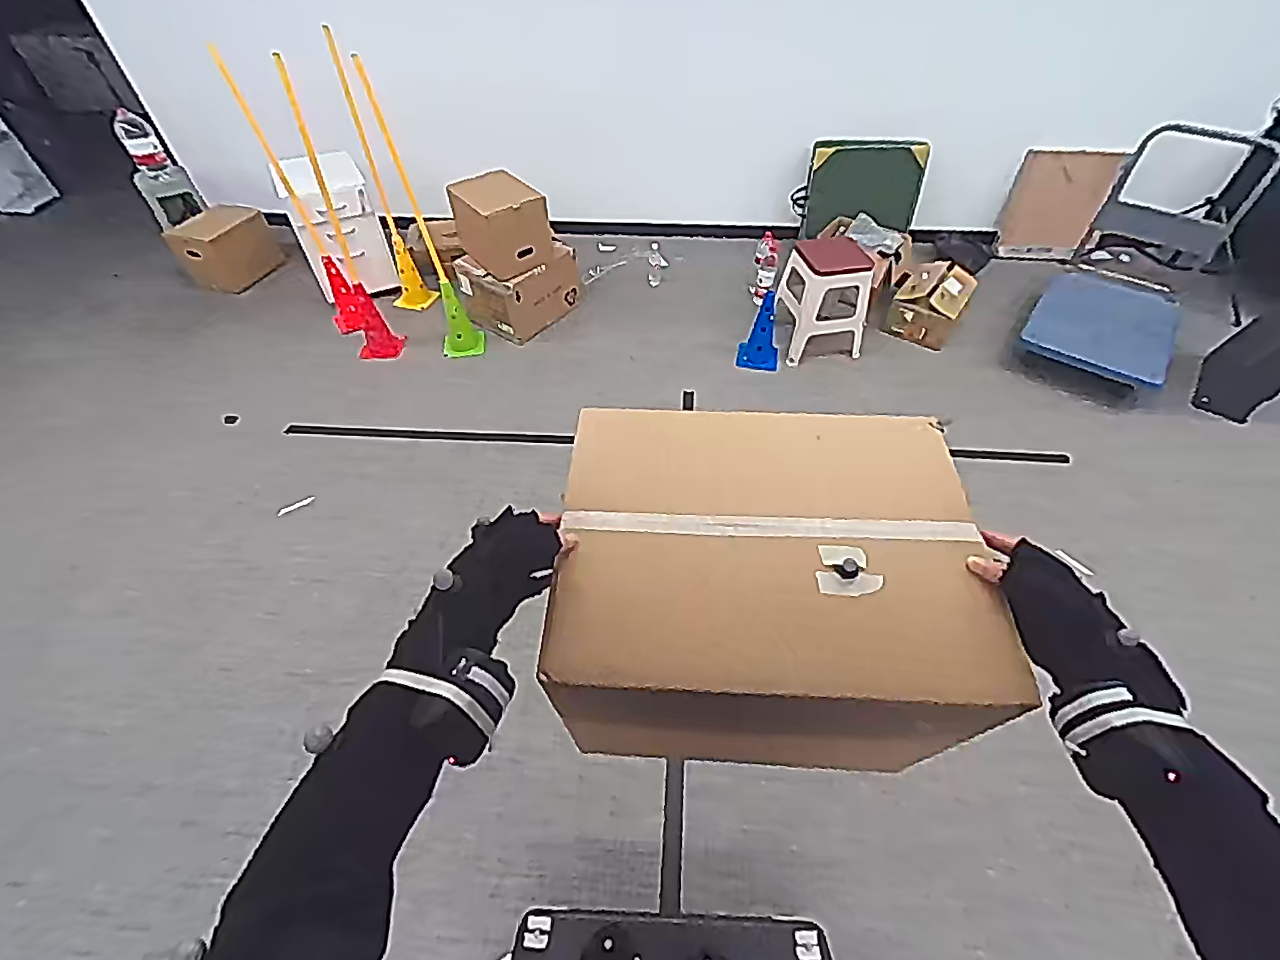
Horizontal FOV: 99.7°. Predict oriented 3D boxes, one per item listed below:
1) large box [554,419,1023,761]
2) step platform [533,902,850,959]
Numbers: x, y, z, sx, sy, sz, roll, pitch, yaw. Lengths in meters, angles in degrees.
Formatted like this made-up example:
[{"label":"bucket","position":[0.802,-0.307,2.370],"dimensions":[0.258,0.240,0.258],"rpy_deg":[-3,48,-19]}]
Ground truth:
[{"label":"large box","position":[0.128,0.142,0.660],"dimensions":[0.408,0.320,0.320],"rpy_deg":[2,54,2]},{"label":"step platform","position":[0.107,1.081,1.141],"dimensions":[0.684,0.204,0.286],"rpy_deg":[1,49,0]}]
